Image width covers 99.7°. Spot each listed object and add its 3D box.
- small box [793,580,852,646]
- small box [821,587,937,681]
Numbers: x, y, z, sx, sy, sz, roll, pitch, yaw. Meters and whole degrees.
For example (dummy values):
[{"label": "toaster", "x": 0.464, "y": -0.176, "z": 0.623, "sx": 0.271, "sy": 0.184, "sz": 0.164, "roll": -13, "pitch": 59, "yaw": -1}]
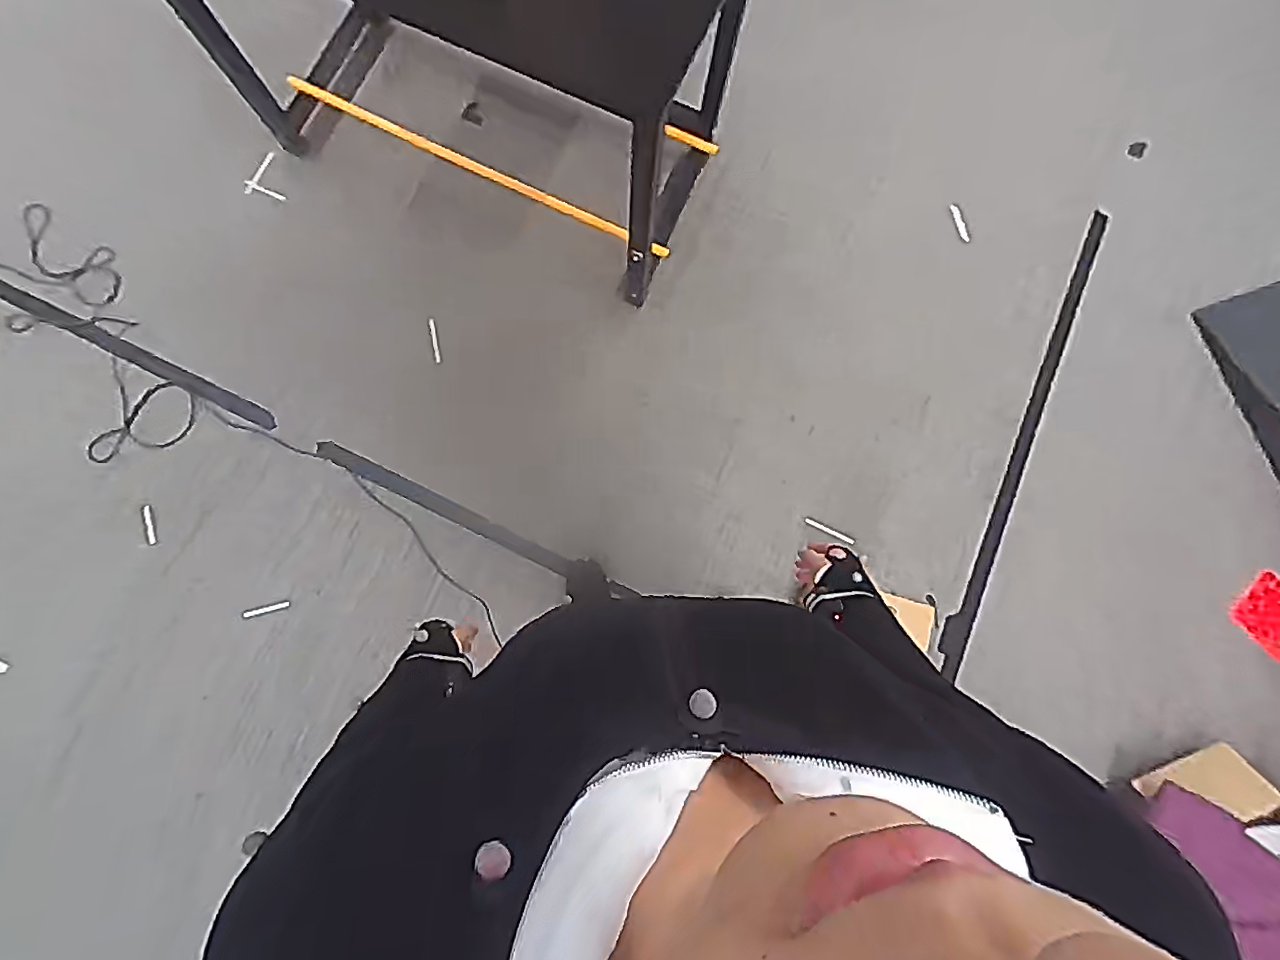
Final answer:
[{"label": "small box", "x": 0.533, "y": 0.368, "z": 1.427, "sx": 0.179, "sy": 0.176, "sz": 0.168, "roll": 21, "pitch": 80, "yaw": 2}, {"label": "small box", "x": 0.551, "y": 0.350, "z": 1.263, "sx": 0.179, "sy": 0.176, "sz": 0.168, "roll": 17, "pitch": 79, "yaw": 0}]
